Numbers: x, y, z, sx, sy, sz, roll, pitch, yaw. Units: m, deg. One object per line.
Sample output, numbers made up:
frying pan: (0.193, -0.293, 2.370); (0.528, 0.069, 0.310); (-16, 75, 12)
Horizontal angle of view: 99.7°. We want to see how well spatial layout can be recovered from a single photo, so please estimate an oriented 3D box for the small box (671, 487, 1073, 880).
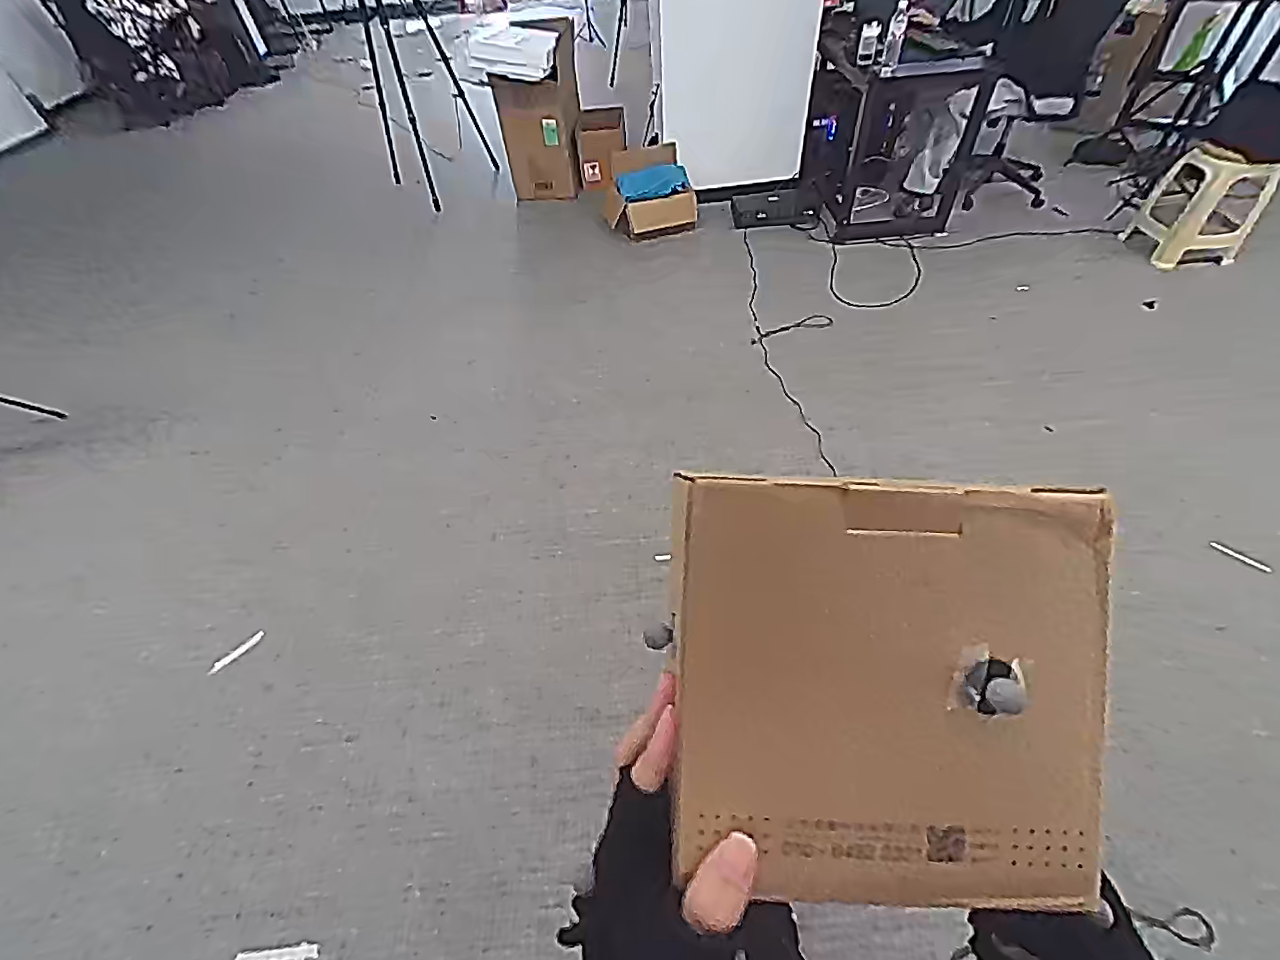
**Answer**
small box: (0.104, 0.092, 0.314); (0.168, 0.179, 0.176); (2, 90, 0)
